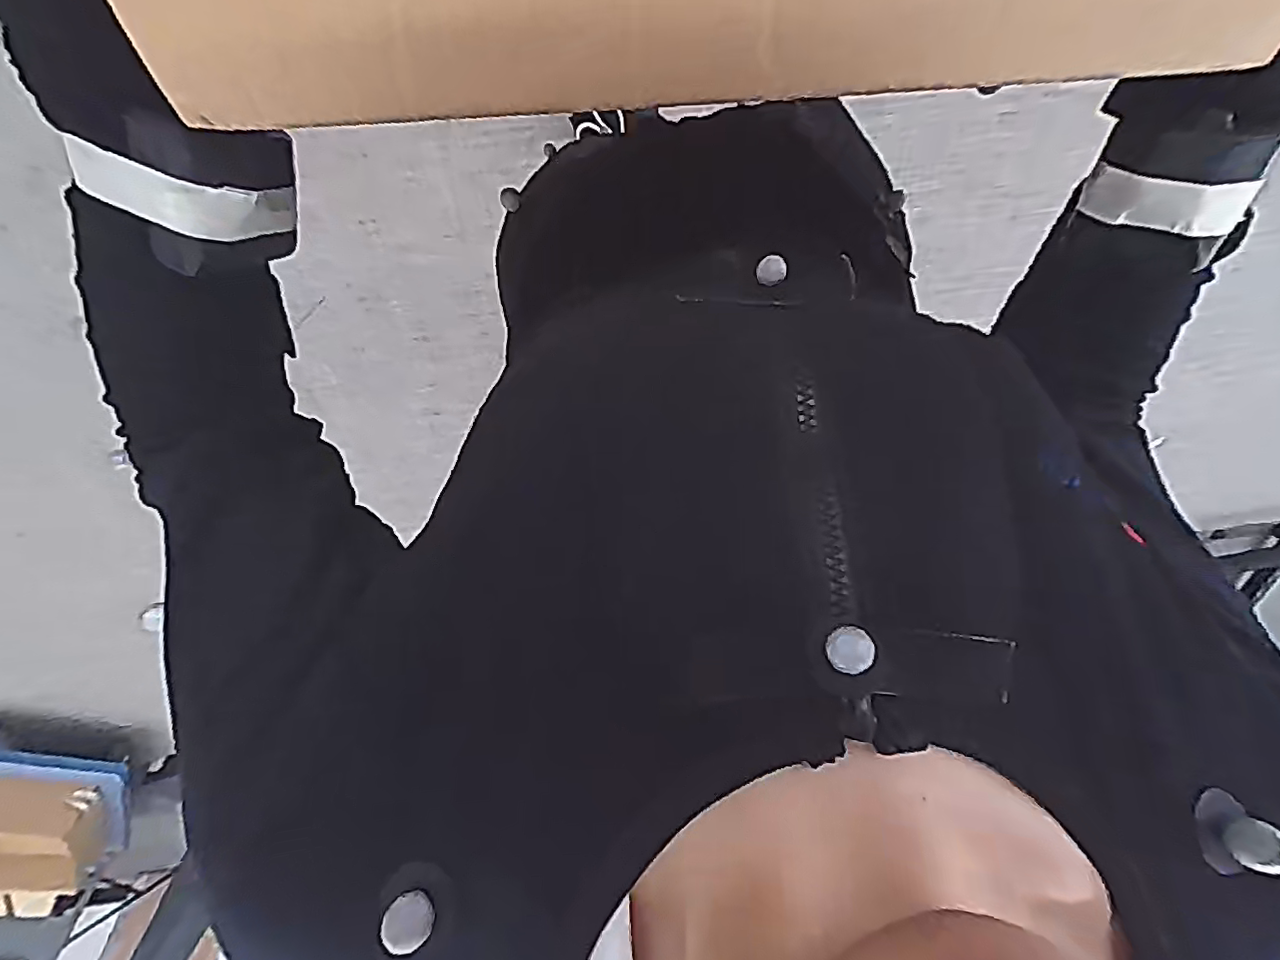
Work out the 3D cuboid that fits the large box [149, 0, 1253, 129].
[{"bbox_3d":[0.019,-0.364,0.194,0.408,0.320,0.320,-4,138,-1],"label":"large box"}]
